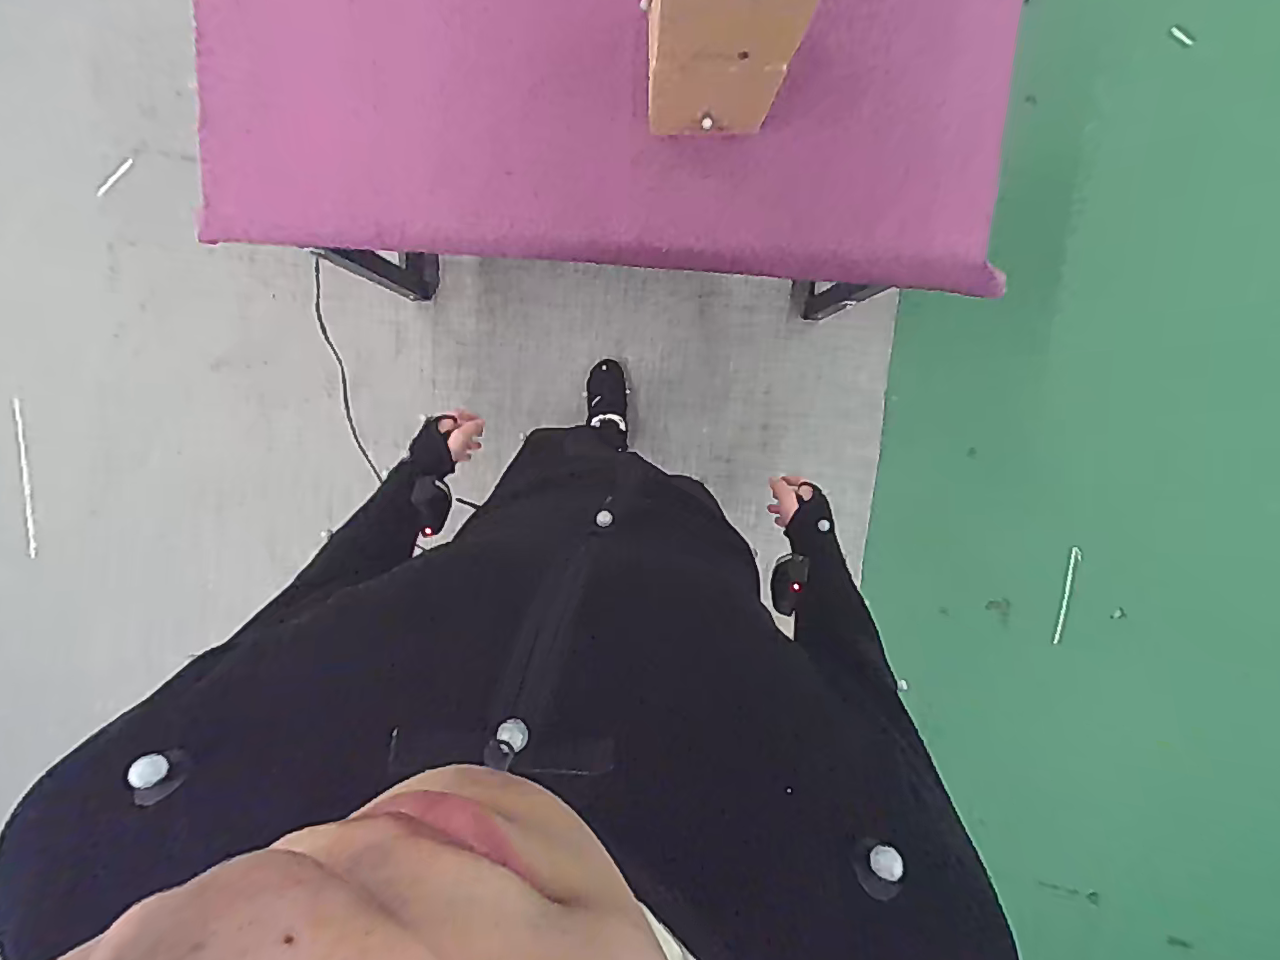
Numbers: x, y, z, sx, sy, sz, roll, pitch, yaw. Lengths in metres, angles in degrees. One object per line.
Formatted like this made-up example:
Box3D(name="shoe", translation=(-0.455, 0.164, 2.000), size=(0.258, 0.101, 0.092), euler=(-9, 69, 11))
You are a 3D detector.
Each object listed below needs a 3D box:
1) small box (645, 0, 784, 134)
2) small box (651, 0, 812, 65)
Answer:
Box3D(name="small box", translation=(0.091, -0.599, 0.721), size=(0.168, 0.176, 0.179), euler=(0, 98, -1))
Box3D(name="small box", translation=(0.096, -0.577, 0.558), size=(0.168, 0.176, 0.179), euler=(-1, 97, -1))
